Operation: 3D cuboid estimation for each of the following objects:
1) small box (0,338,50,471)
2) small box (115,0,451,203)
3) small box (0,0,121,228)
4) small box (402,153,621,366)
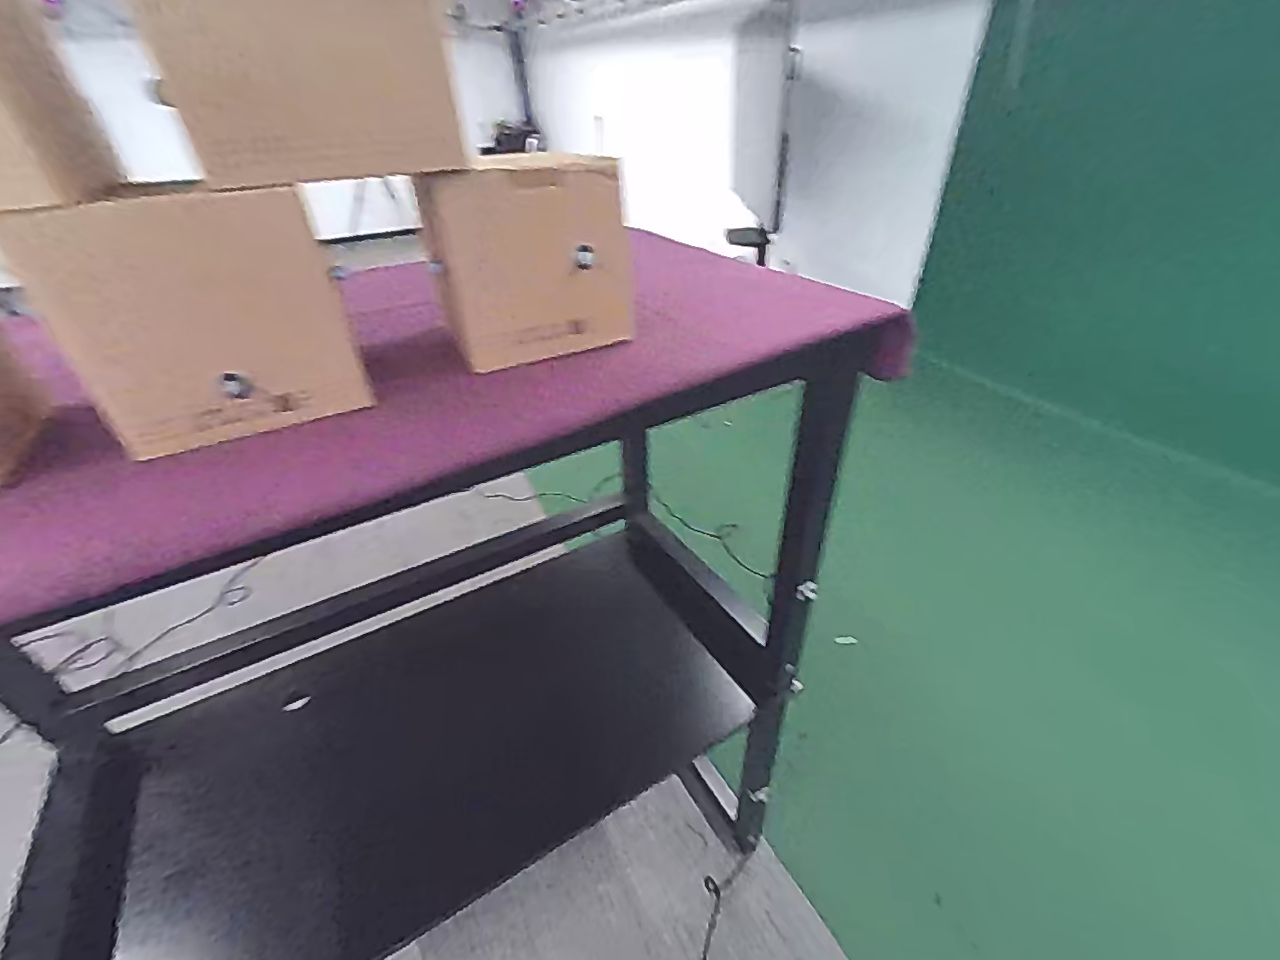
[{"bbox_3d":[-0.561,-0.063,0.352,0.179,0.176,0.168,-19,38,-24],"label":"small box"},{"bbox_3d":[-0.253,-0.315,0.401,0.179,0.176,0.168,-20,37,-22],"label":"small box"},{"bbox_3d":[-0.456,-0.237,0.309,0.168,0.176,0.179,-20,38,-22],"label":"small box"},{"bbox_3d":[-0.128,-0.227,0.554,0.168,0.176,0.179,-18,36,-20],"label":"small box"}]
